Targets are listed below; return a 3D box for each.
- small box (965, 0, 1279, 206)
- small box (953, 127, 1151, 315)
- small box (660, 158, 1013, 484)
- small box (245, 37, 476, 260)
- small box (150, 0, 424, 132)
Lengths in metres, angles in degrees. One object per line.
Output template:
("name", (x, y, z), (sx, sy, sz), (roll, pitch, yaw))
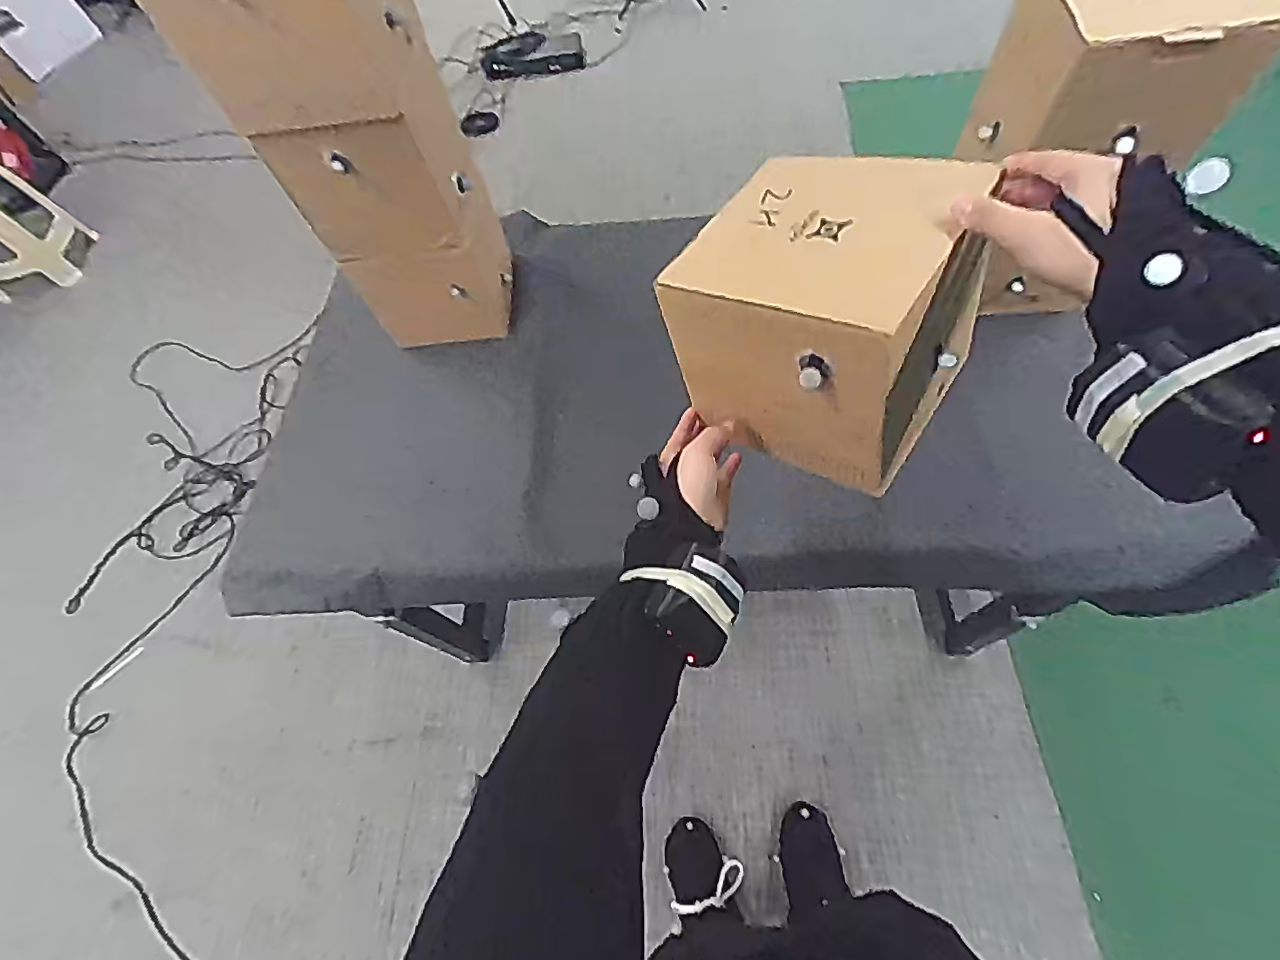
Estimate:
("small box", (0.475, -0.412, 0.567), (0.168, 0.176, 0.179), (0, 64, 7))
("small box", (0.497, -0.341, 0.714), (0.168, 0.176, 0.179), (-1, 63, 7))
("small box", (0.149, -0.121, 0.425), (0.179, 0.176, 0.168), (26, 67, 35))
("small box", (-0.321, -0.393, 0.661), (0.179, 0.176, 0.168), (-6, 64, 3))
("small box", (-0.334, -0.461, 0.511), (0.179, 0.176, 0.168), (-4, 63, 4))
